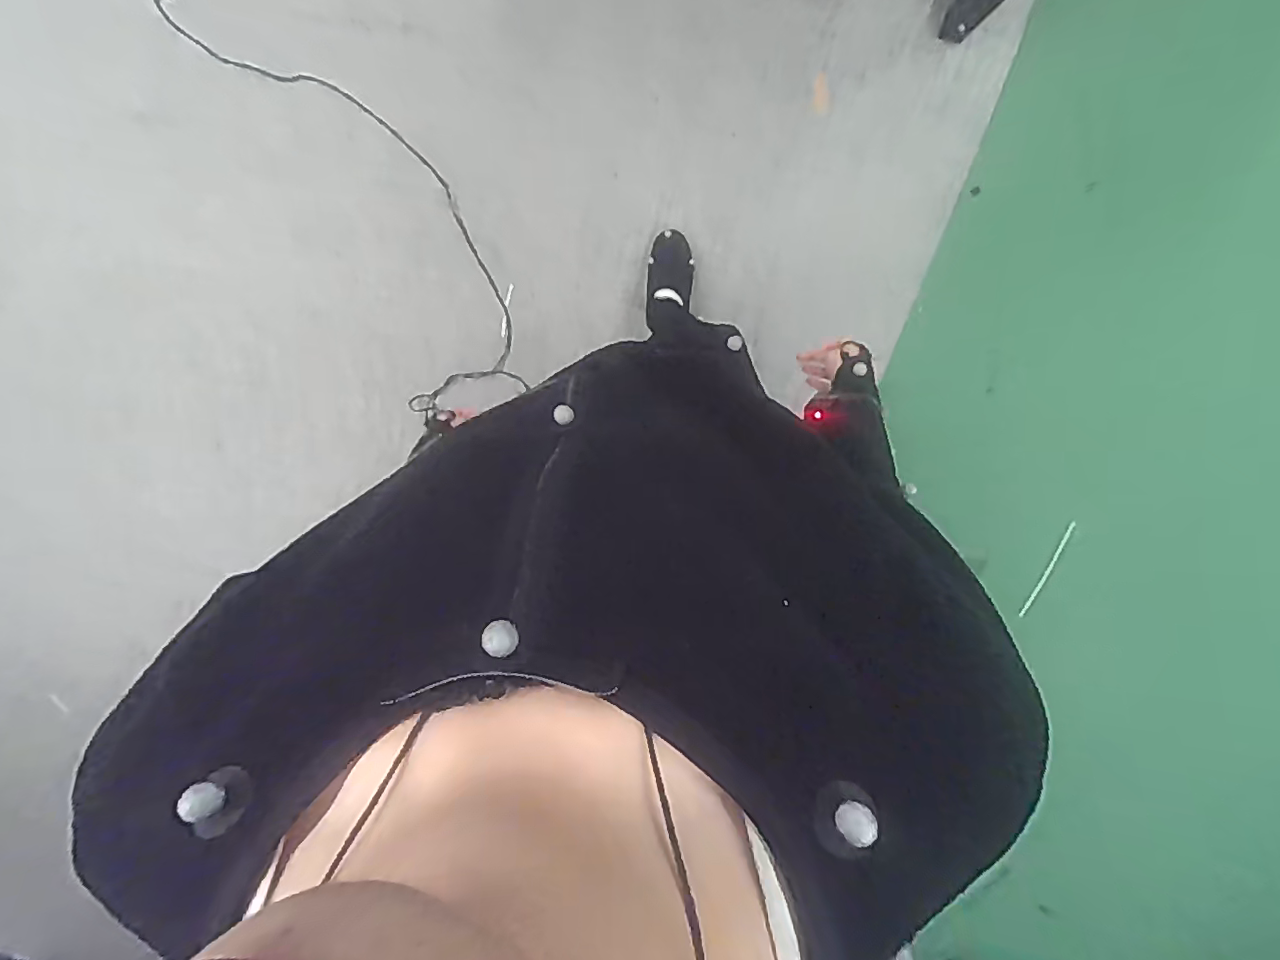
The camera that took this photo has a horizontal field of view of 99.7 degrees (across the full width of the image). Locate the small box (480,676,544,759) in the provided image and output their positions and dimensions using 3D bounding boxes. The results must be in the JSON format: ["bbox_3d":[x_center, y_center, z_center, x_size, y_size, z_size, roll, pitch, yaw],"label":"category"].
[{"bbox_3d":[-0.403,0.743,1.685,0.168,0.176,0.179,13,109,-1],"label":"small box"}]
